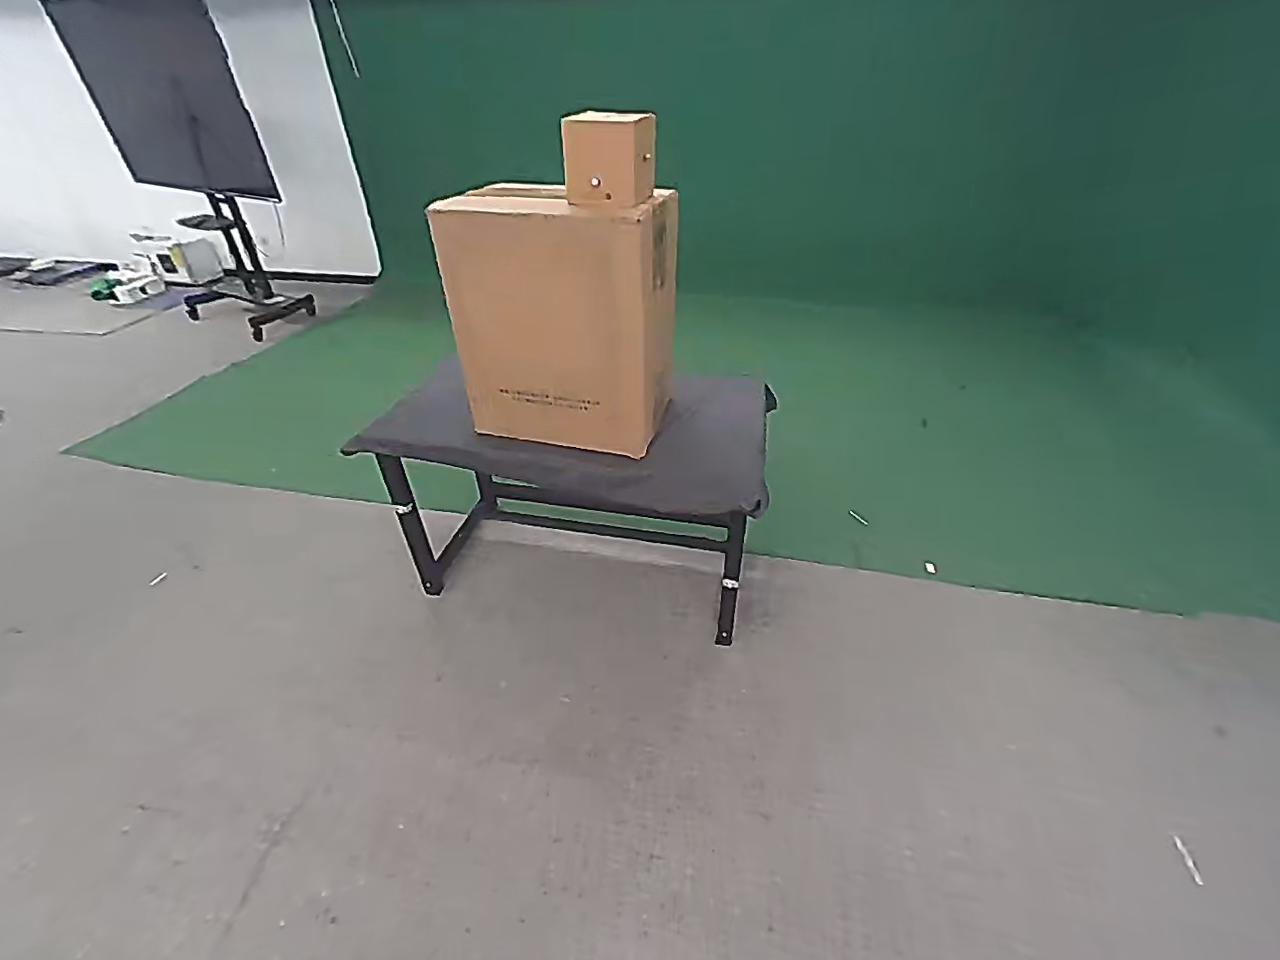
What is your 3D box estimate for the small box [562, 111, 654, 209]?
[{"bbox_3d":[-0.070,-0.744,1.254,0.168,0.176,0.179,11,40,12],"label":"small box"}]
